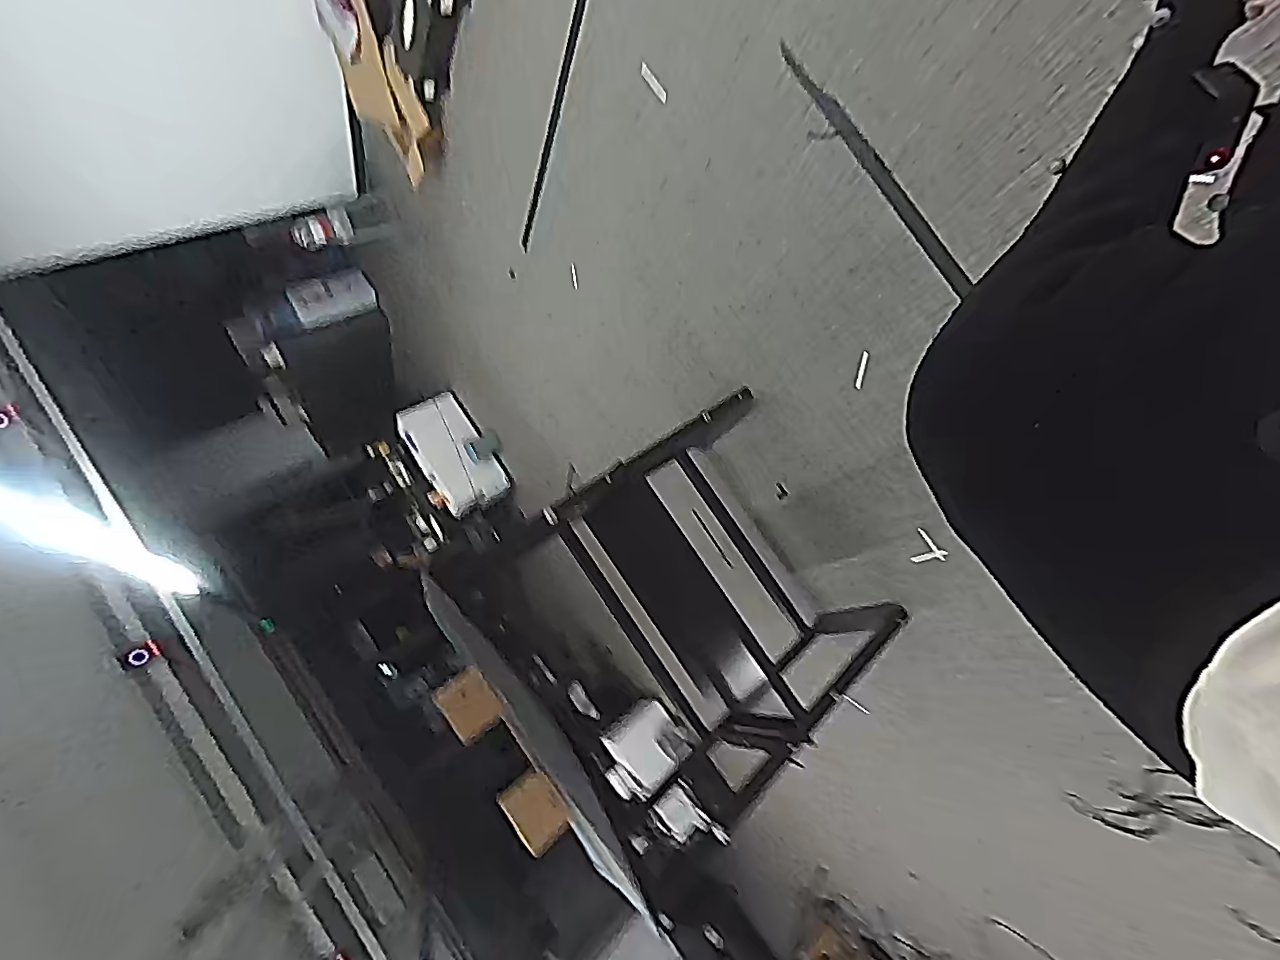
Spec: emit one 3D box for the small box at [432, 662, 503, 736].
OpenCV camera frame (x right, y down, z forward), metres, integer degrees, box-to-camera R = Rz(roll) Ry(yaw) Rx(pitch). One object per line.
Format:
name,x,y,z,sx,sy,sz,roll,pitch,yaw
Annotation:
small box,-0.608,0.762,1.901,0.179,0.176,0.168,57,153,2
